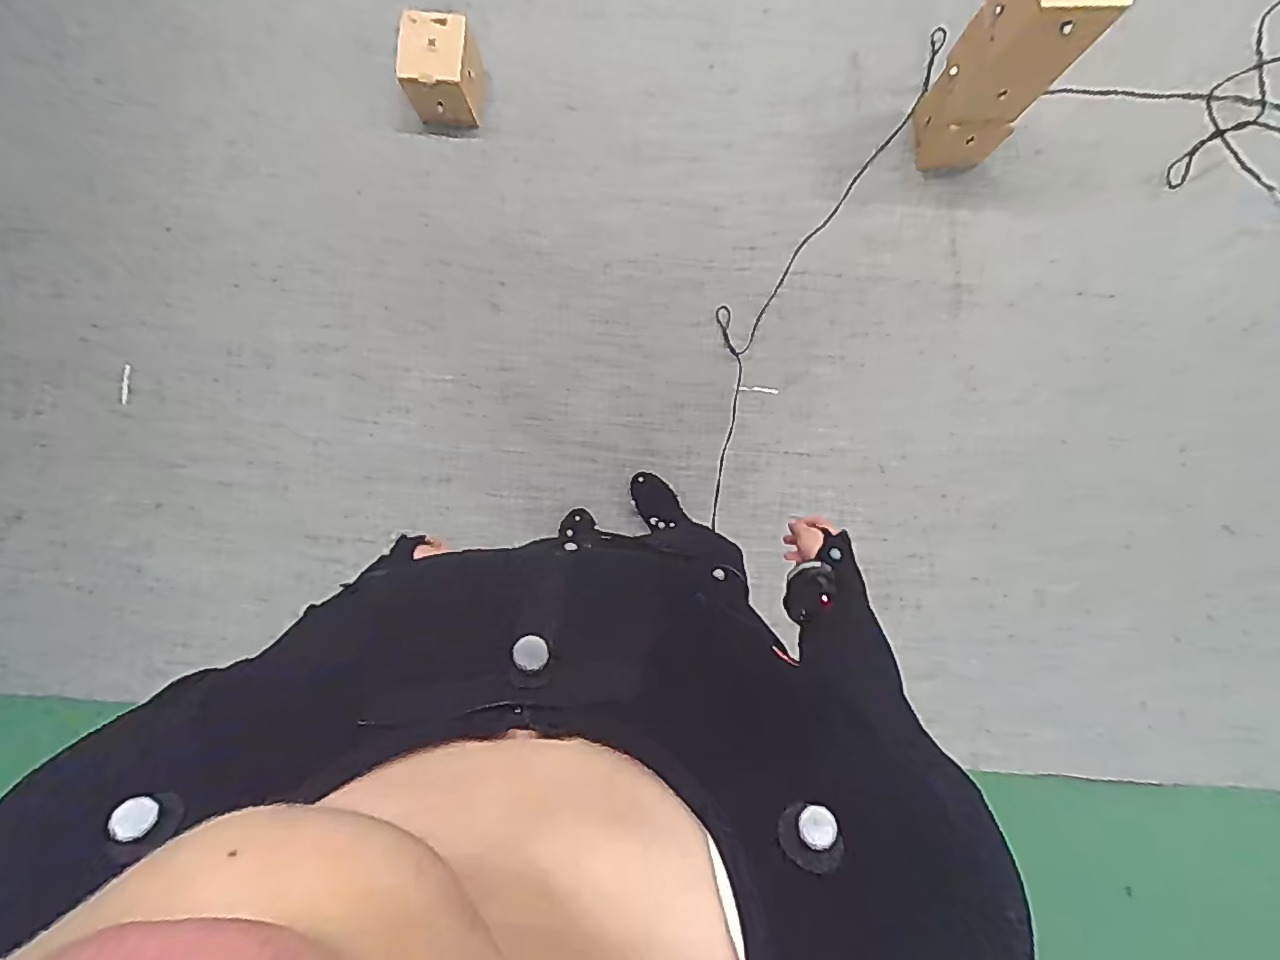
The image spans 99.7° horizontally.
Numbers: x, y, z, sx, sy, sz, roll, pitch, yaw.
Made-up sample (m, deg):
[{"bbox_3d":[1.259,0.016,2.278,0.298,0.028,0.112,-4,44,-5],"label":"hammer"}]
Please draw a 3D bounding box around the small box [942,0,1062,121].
[{"bbox_3d":[0.842,-0.977,1.268,0.179,0.176,0.168,0,88,1],"label":"small box"}]

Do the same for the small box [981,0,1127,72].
[{"bbox_3d":[0.836,-0.976,1.106,0.179,0.176,0.168,-1,88,1],"label":"small box"}]

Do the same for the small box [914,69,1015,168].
[{"bbox_3d":[0.847,-0.953,1.431,0.179,0.176,0.168,-4,89,0],"label":"small box"}]

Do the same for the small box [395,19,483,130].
[{"bbox_3d":[-0.531,-1.076,1.448,0.168,0.176,0.179,5,88,1],"label":"small box"}]
